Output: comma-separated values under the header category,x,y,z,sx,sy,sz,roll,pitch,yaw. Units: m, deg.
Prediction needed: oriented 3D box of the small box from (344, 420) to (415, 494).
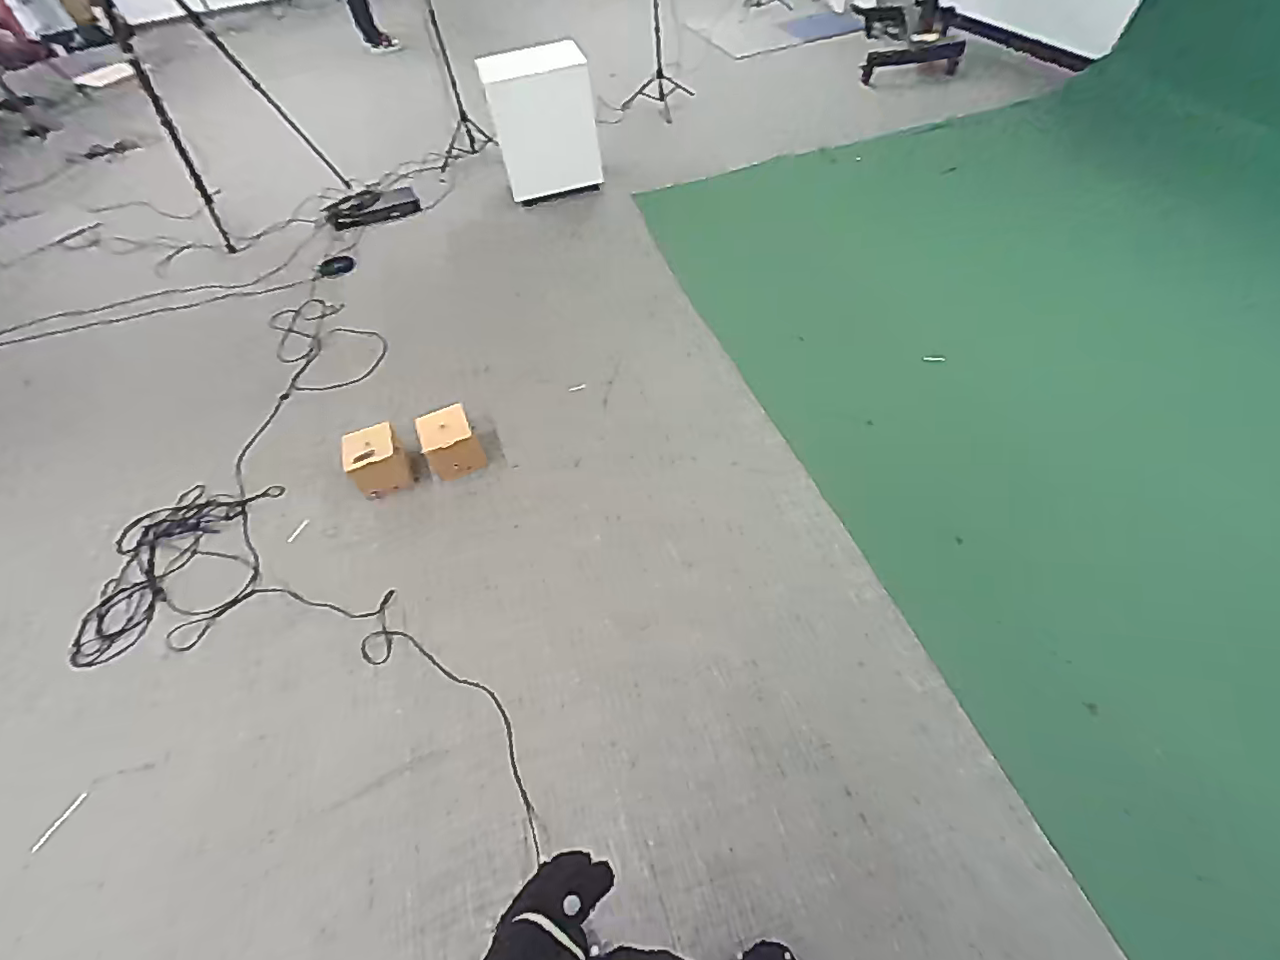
category,x,y,z,sx,sy,sz,roll,pitch,yaw
small box,-0.897,-0.073,1.870,0.168,0.176,0.179,-20,53,-8

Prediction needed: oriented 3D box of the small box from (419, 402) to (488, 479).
category,x,y,z,sx,sy,sz,roll,pitch,yaw
small box,-0.651,-0.136,1.891,0.168,0.176,0.179,-23,56,-10
